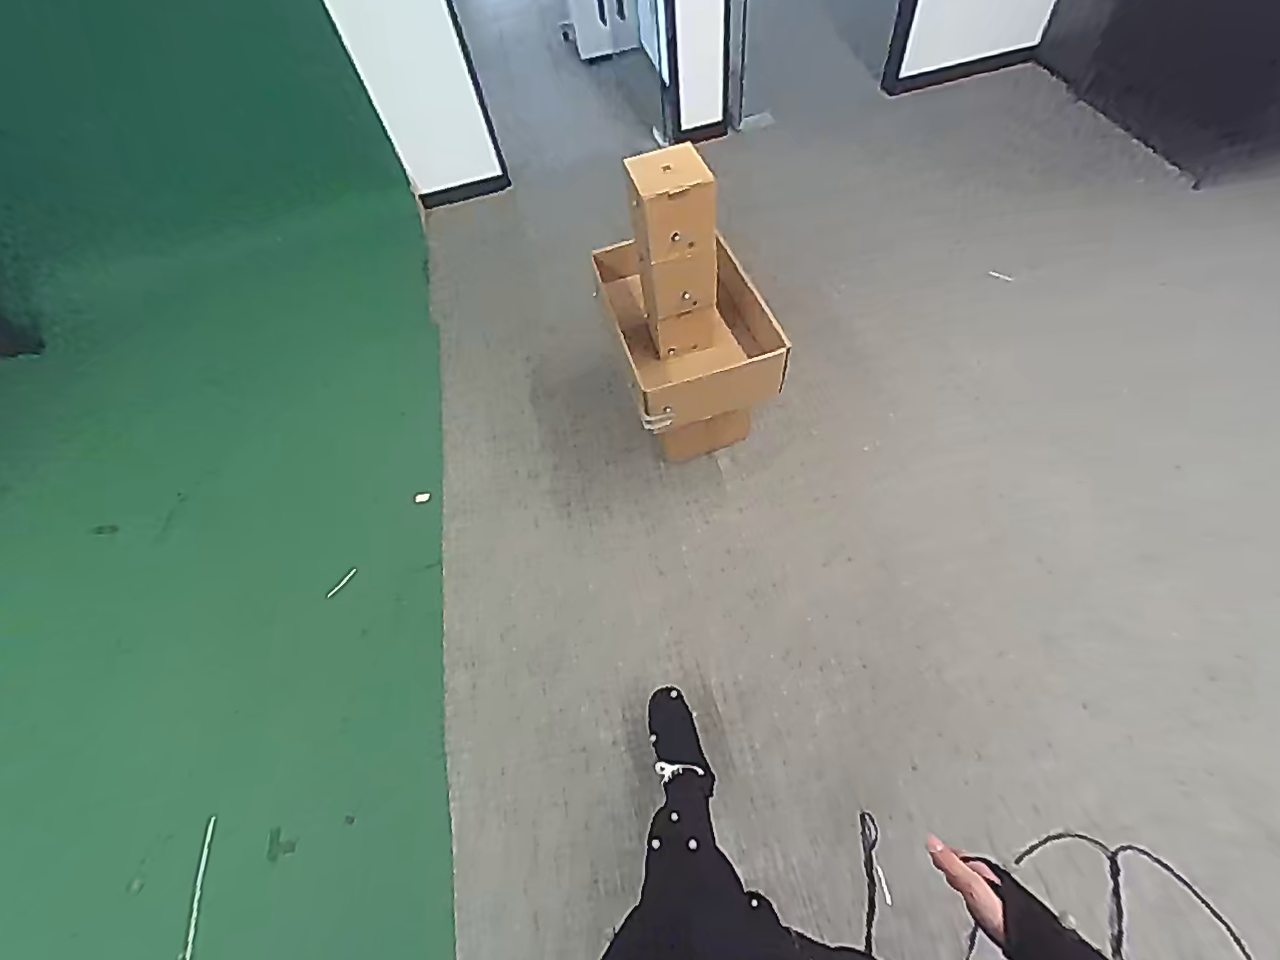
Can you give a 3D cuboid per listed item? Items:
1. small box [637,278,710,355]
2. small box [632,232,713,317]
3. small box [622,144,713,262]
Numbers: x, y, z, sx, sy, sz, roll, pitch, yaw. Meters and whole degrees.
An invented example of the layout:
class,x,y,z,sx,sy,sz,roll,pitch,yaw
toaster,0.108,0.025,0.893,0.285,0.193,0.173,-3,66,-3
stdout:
class,x,y,z,sx,sy,sz,roll,pitch,yaw
small box,0.099,-0.478,1.546,0.168,0.176,0.179,-16,56,-3
small box,0.084,-0.557,1.401,0.168,0.176,0.179,-17,57,-3
small box,0.063,-0.646,1.268,0.168,0.176,0.179,-17,58,-4
